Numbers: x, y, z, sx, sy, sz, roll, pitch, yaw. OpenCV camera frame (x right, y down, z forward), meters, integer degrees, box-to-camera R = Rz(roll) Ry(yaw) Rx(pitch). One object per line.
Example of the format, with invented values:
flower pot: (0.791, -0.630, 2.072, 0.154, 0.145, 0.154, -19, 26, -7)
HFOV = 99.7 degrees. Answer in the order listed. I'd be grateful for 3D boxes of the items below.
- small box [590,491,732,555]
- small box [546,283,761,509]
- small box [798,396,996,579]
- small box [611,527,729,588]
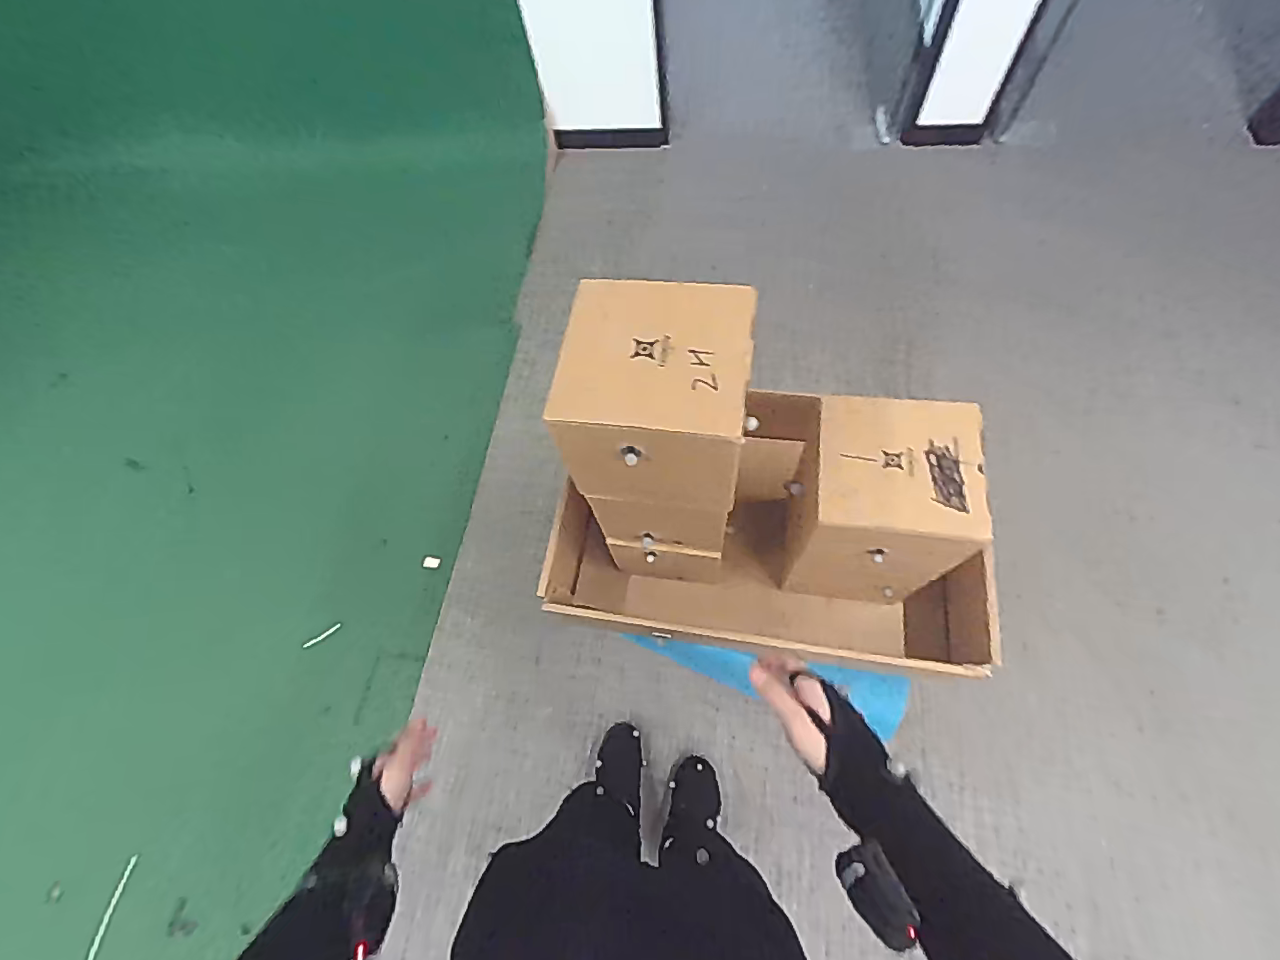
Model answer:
small box: (0.042, -0.016, 0.714, 0.168, 0.176, 0.179, 6, 67, 9)
small box: (0.024, -0.080, 0.564, 0.179, 0.176, 0.168, 7, 66, 10)
small box: (0.300, 0.017, 0.666, 0.179, 0.176, 0.168, 5, 66, 11)
small box: (0.058, 0.057, 0.858, 0.168, 0.176, 0.179, 6, 66, 9)
